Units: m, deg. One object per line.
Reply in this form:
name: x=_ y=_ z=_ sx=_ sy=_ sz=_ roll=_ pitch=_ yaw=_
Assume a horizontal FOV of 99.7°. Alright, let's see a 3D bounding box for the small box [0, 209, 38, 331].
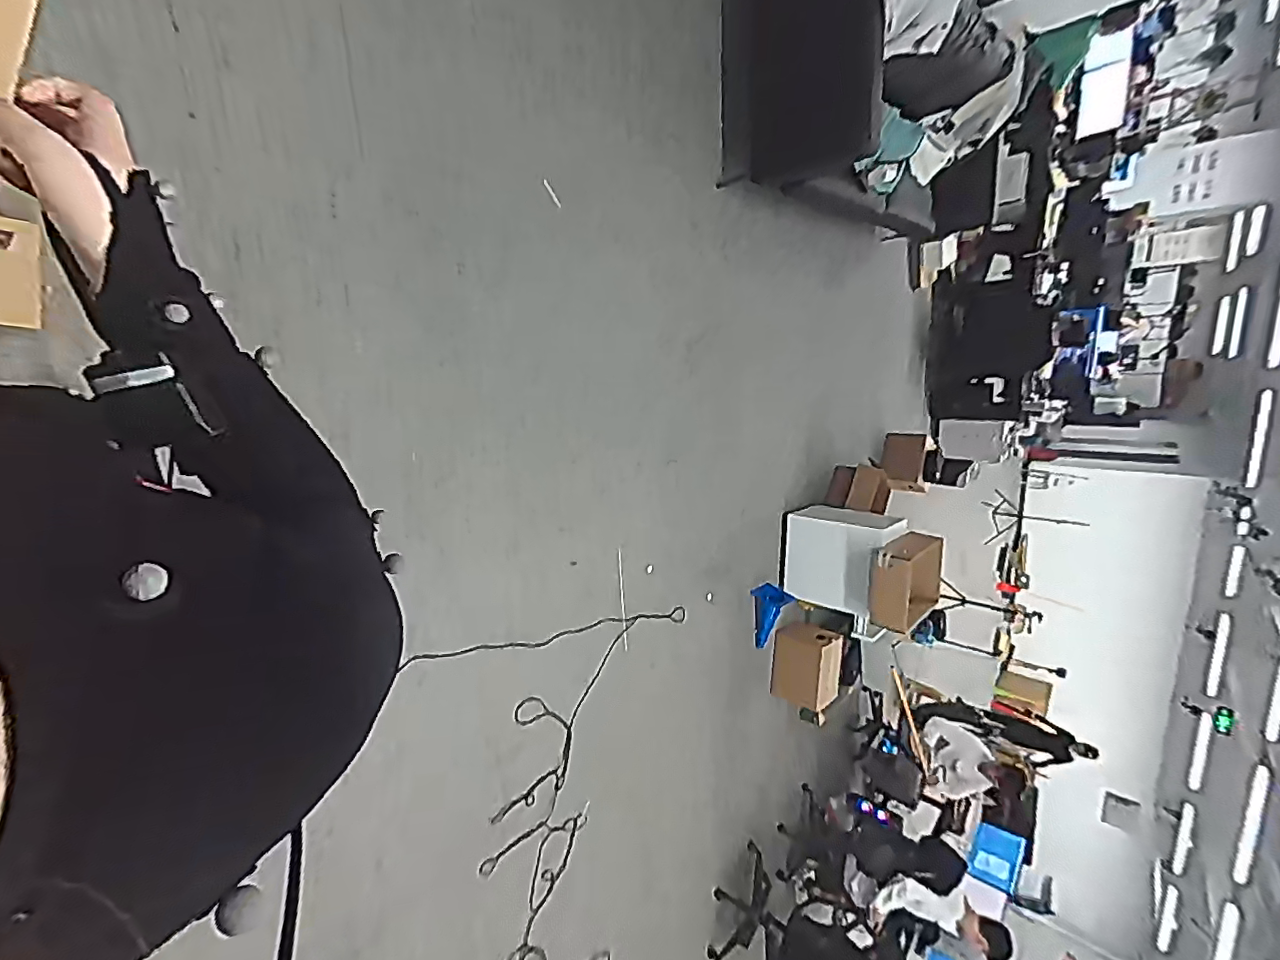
small box: x=-1.108 y=-0.352 z=0.882 sx=0.168 sy=0.176 sz=0.179 roll=0 pitch=97 yaw=-48
